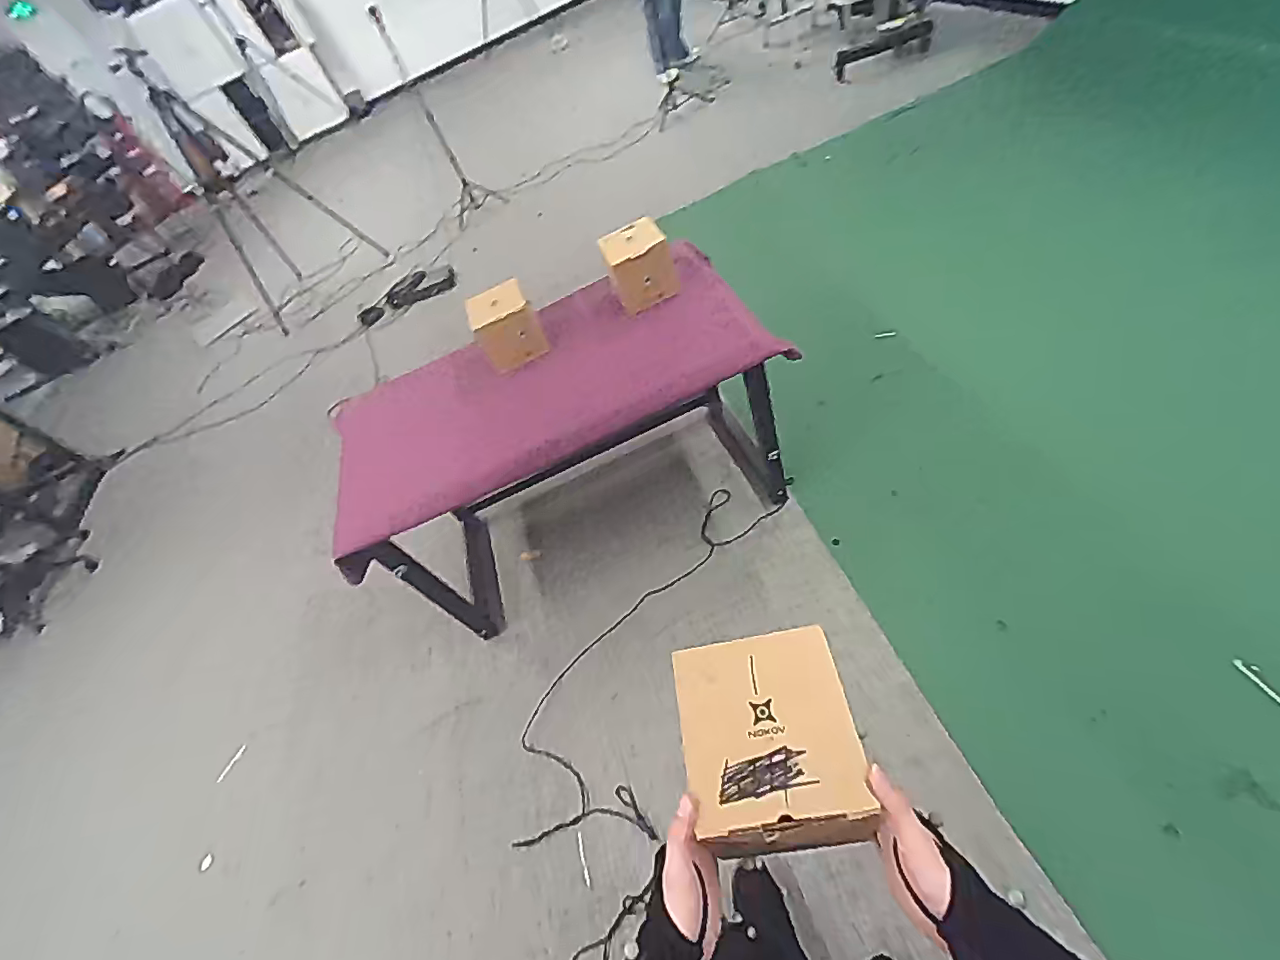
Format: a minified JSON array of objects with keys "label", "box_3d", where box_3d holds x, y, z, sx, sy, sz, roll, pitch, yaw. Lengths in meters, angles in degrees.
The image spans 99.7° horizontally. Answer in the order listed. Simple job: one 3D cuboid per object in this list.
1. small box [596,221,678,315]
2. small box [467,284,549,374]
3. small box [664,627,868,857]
[{"label":"small box","box_3d":[-0.006,-0.605,1.566,0.168,0.176,0.179,-25,49,2]},{"label":"small box","box_3d":[-0.385,-0.435,1.588,0.168,0.176,0.179,-25,48,1]},{"label":"small box","box_3d":[0.132,0.288,0.581,0.168,0.176,0.179,-14,46,8]}]
